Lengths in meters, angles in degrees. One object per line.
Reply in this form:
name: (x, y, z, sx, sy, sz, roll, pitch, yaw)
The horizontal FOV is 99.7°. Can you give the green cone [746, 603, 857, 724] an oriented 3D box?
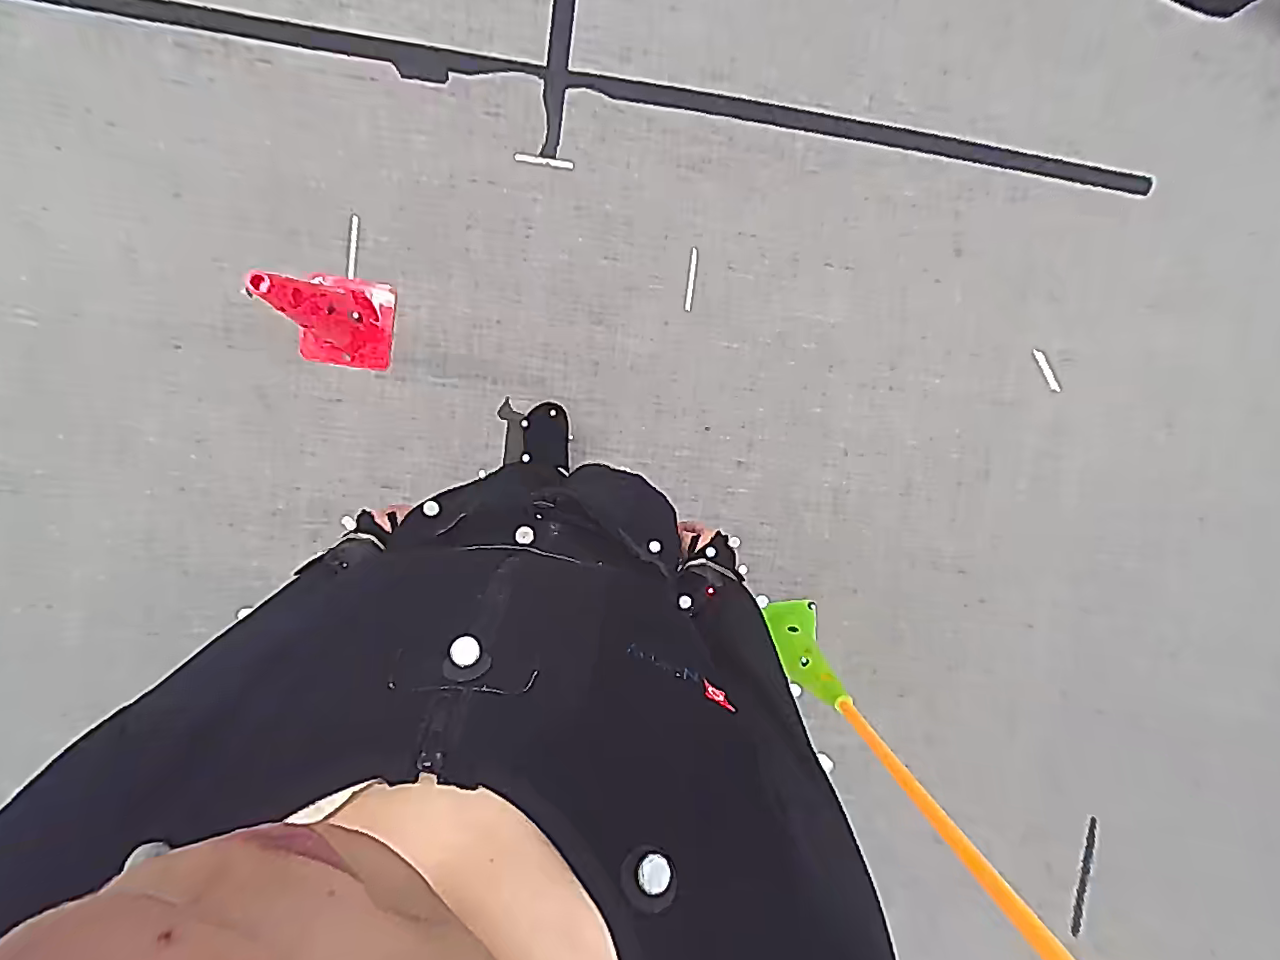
green cone: (0.400, 0.452, 1.276, 0.200, 0.368, 0.202, -4, 97, -6)
